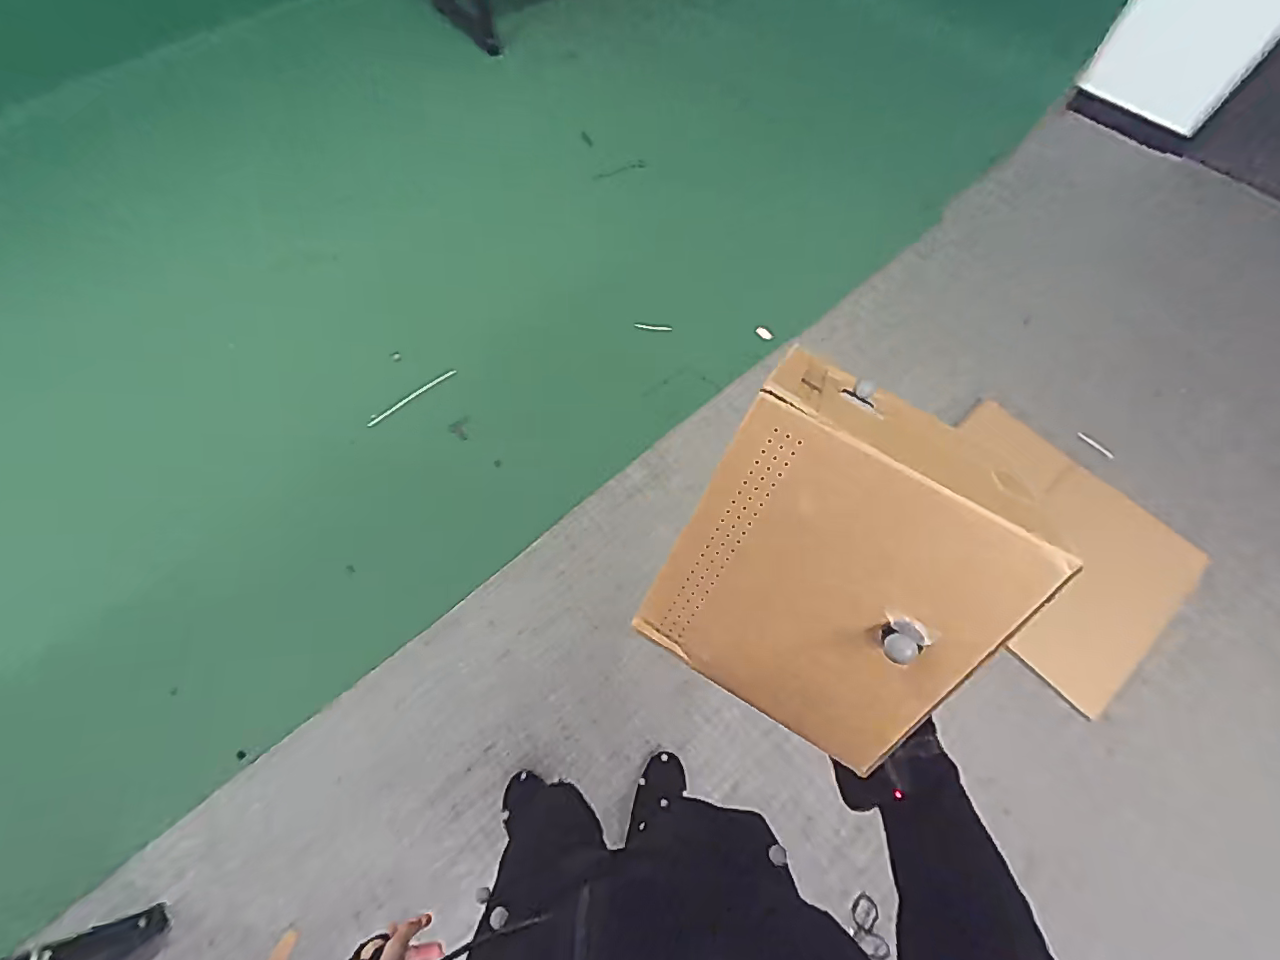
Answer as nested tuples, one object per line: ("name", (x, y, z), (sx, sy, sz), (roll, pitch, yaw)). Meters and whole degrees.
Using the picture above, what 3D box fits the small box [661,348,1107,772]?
("small box", (0.130, 0.037, 0.357), (0.176, 0.179, 0.168), (31, 28, 9))
